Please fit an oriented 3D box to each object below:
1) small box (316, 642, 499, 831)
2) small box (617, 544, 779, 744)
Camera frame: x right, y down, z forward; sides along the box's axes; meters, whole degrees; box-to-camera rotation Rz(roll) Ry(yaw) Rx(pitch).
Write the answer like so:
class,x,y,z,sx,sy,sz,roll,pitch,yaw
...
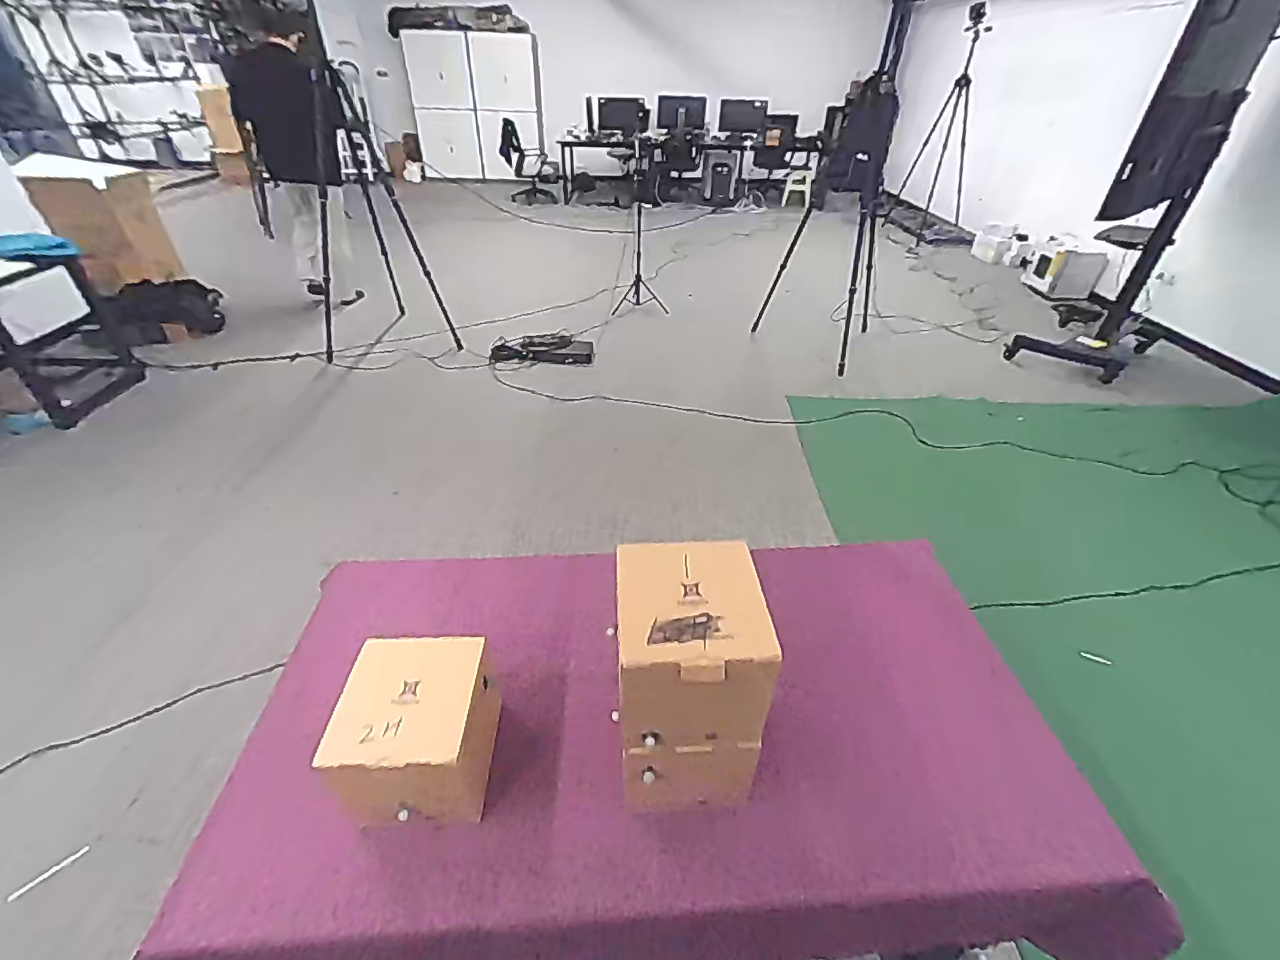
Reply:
class,x,y,z,sx,sy,sz,roll,pitch,yaw
small box,-0.292,0.341,0.728,0.168,0.176,0.179,-1,37,-2
small box,0.058,0.199,0.654,0.168,0.176,0.179,-1,35,-3
